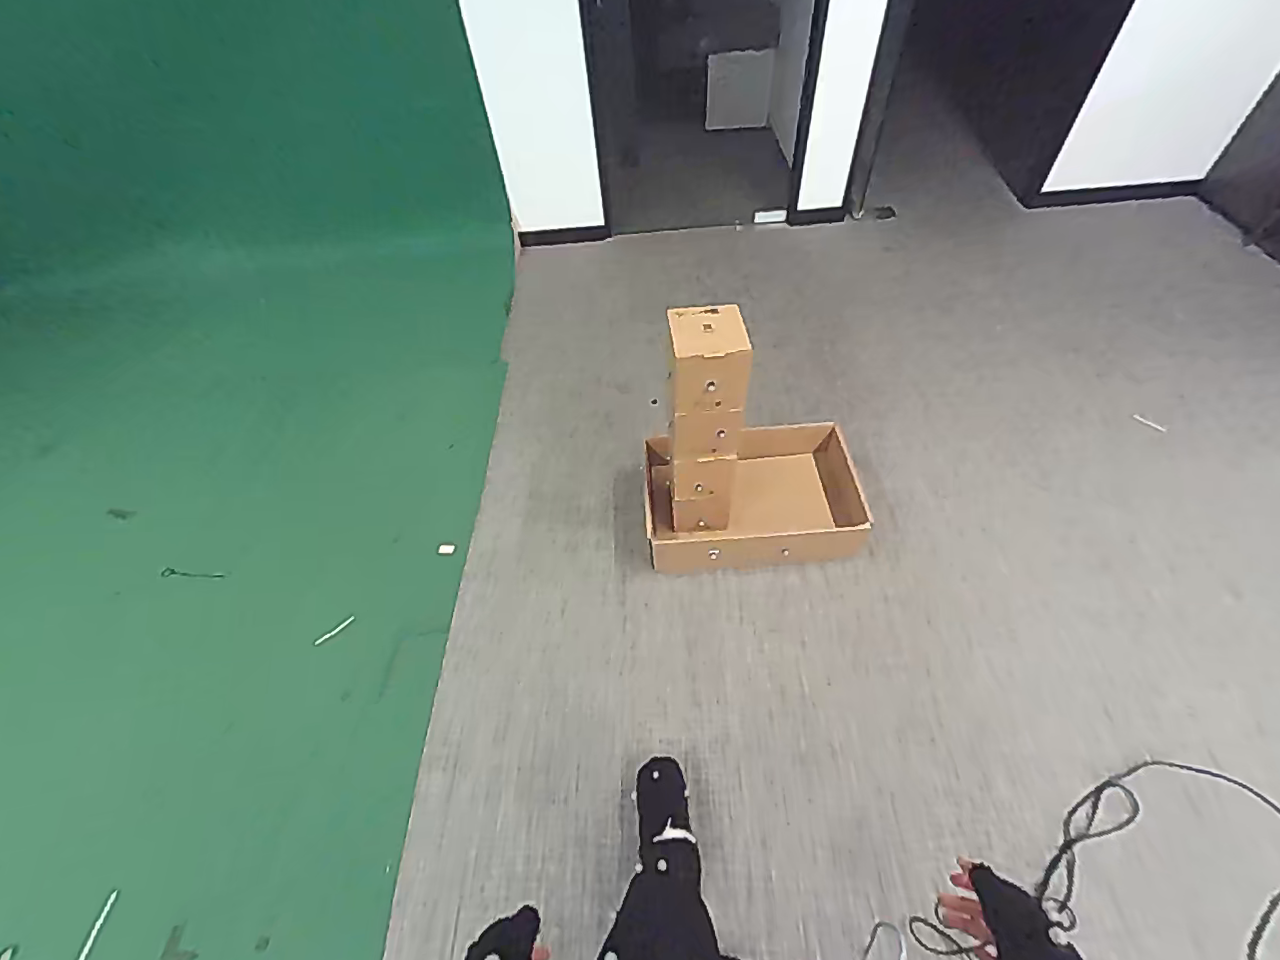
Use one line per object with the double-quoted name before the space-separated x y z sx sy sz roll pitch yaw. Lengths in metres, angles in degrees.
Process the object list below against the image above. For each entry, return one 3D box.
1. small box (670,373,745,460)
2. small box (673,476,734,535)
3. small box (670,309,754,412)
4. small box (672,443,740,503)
"small box" 0.165 -0.163 1.374 0.168 0.176 0.179 -4 51 -1
"small box" 0.185 0.048 1.622 0.168 0.176 0.179 -3 51 2
"small box" 0.158 -0.270 1.250 0.168 0.176 0.179 -4 52 -1
"small box" 0.176 -0.056 1.497 0.168 0.176 0.179 -3 51 1
